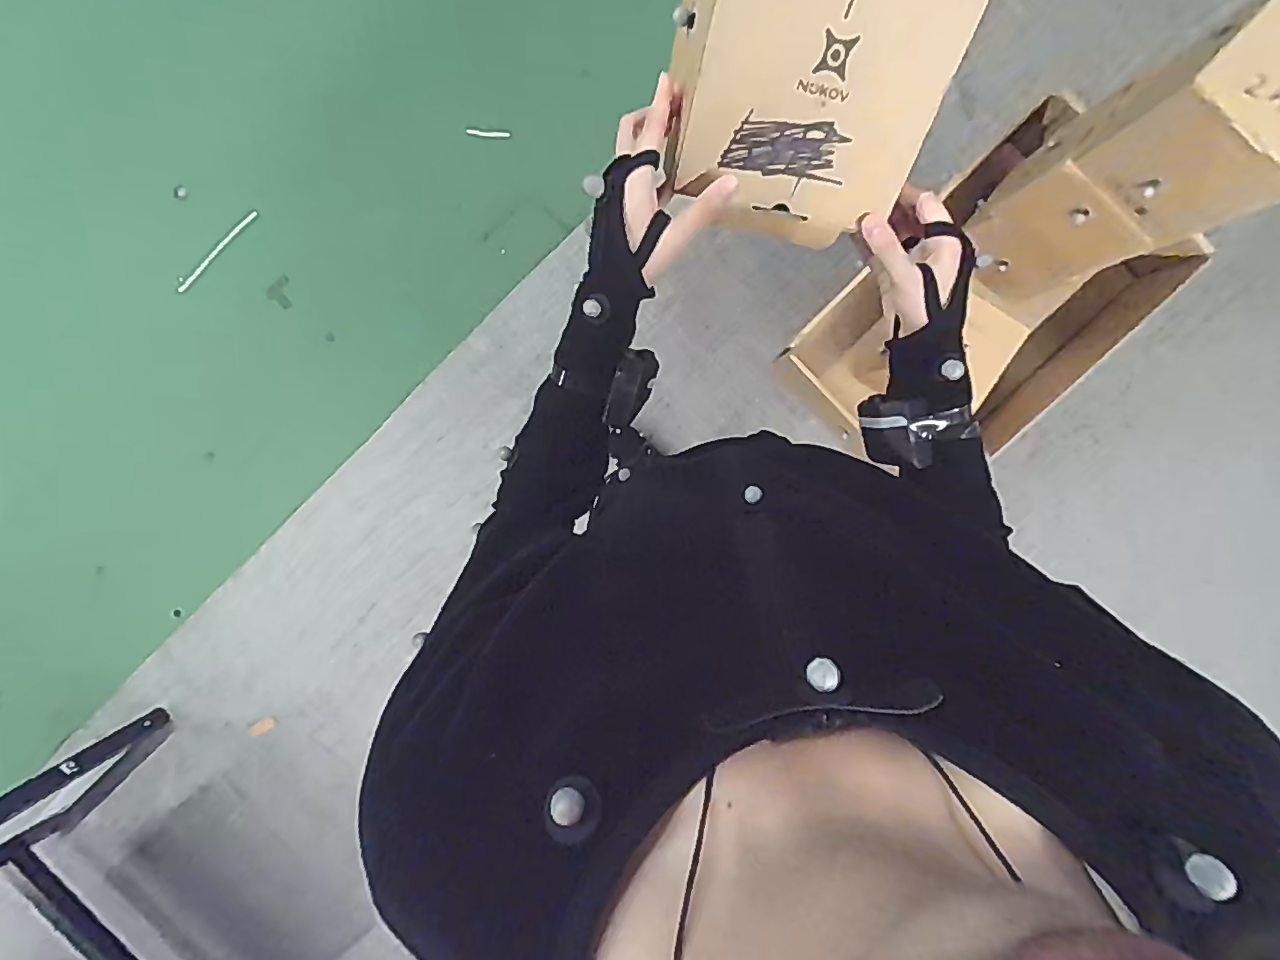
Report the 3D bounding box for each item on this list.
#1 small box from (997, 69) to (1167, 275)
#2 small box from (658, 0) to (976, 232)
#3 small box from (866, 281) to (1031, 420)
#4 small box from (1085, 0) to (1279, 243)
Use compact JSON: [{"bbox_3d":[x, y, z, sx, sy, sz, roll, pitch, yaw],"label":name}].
[{"bbox_3d":[0.685,-0.427,0.791,0.179,0.176,0.168,41,96,0],"label":"small box"},{"bbox_3d":[0.111,-0.317,0.408,0.168,0.176,0.179,7,129,-9],"label":"small box"},{"bbox_3d":[0.539,-0.221,0.980,0.168,0.176,0.179,33,95,-1],"label":"small box"},{"bbox_3d":[0.688,-0.417,0.626,0.168,0.176,0.179,44,96,0],"label":"small box"}]
